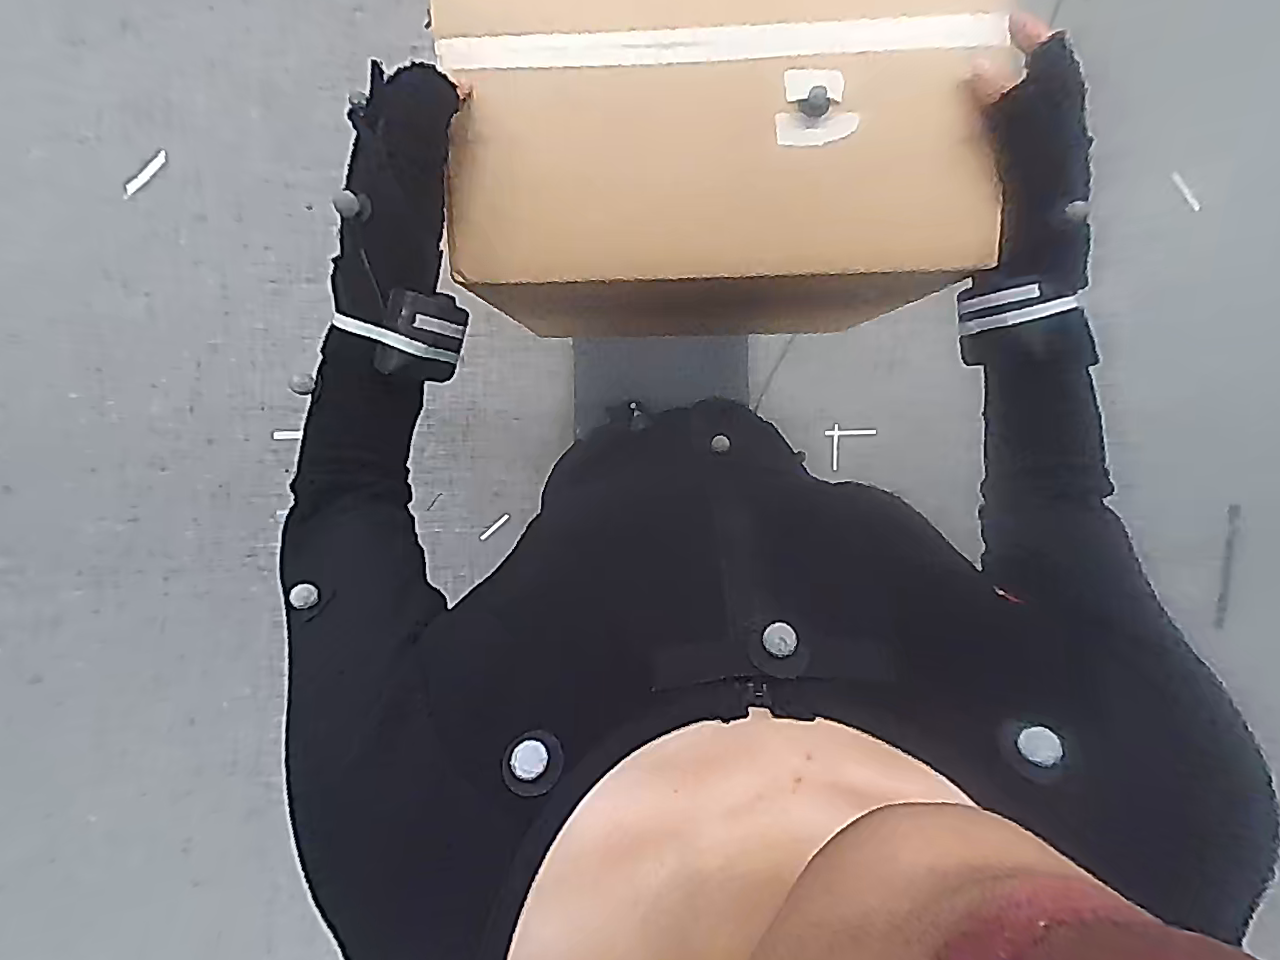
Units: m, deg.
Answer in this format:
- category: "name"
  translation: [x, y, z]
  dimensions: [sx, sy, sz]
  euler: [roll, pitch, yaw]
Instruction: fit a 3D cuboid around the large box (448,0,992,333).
- category: "large box"
  translation: [0.057, -0.336, 0.547]
  dimensions: [0.408, 0.320, 0.320]
  euler: [-1, 97, 1]
